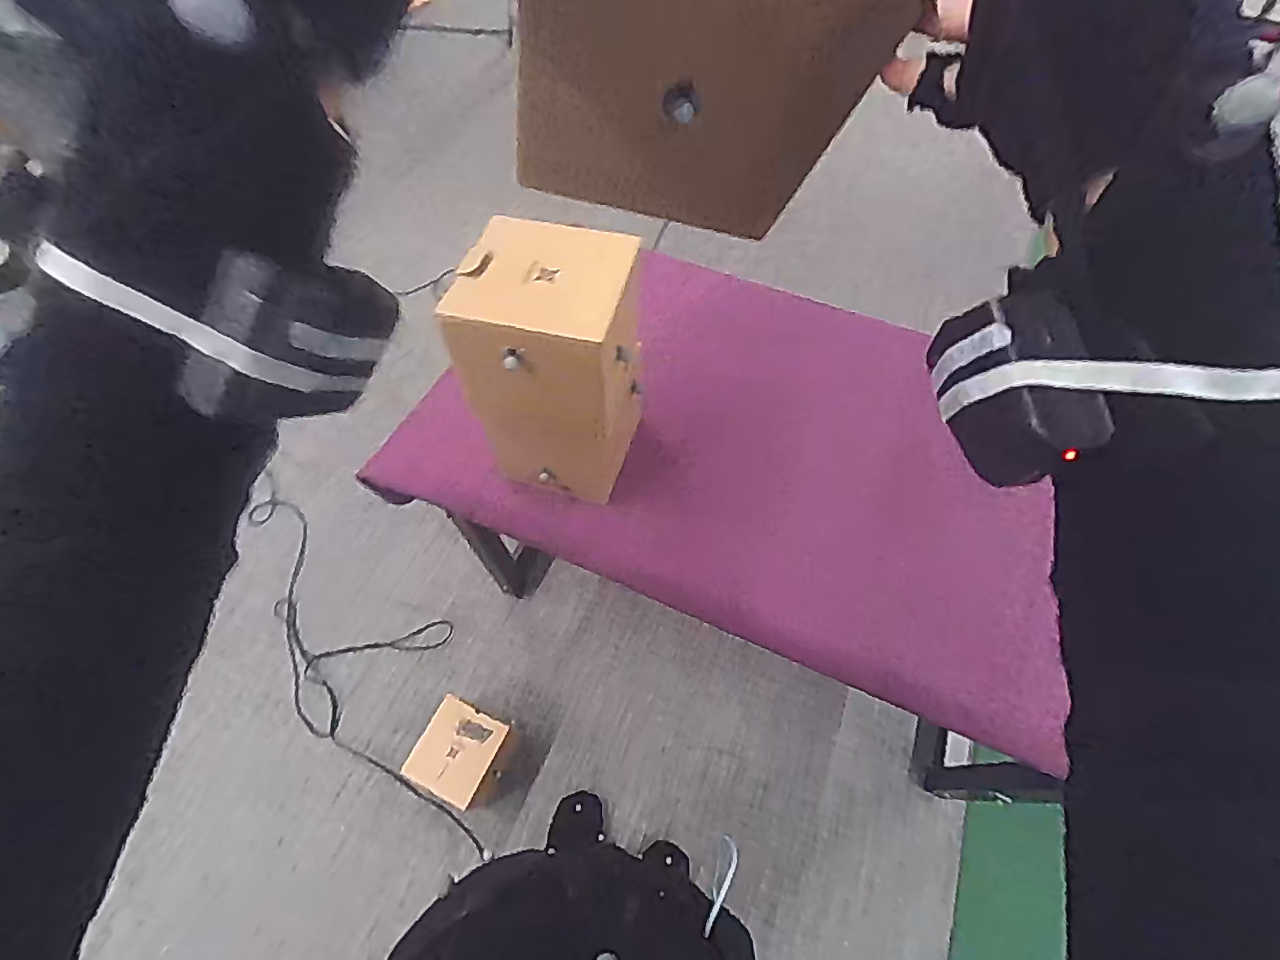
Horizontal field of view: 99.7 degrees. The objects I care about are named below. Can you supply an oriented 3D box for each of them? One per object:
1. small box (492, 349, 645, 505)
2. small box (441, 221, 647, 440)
[{"bbox_3d":[-0.100,-0.093,0.780,0.168,0.176,0.179,17,60,8],"label":"small box"},{"bbox_3d":[-0.097,-0.166,0.634,0.179,0.176,0.168,13,60,6],"label":"small box"}]
